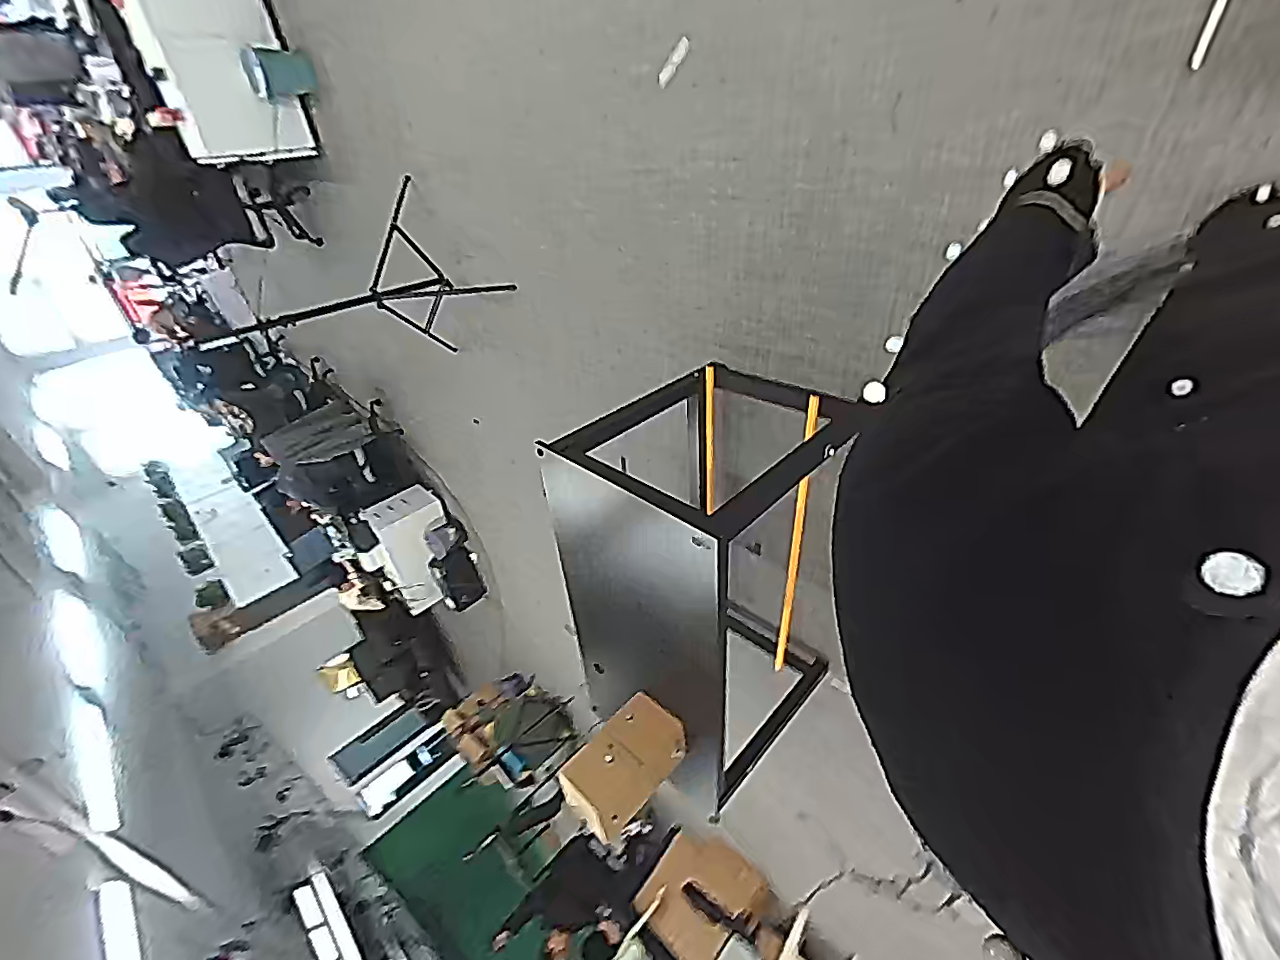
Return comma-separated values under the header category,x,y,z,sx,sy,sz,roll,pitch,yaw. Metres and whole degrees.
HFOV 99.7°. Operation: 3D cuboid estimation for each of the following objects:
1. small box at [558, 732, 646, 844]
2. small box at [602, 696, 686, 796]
category,x,y,z,sx,sy,sz,roll,pitch,yaw
small box,-0.099,0.852,1.509,0.168,0.176,0.179,23,133,41
small box,0.014,0.776,1.601,0.179,0.176,0.168,22,133,40
